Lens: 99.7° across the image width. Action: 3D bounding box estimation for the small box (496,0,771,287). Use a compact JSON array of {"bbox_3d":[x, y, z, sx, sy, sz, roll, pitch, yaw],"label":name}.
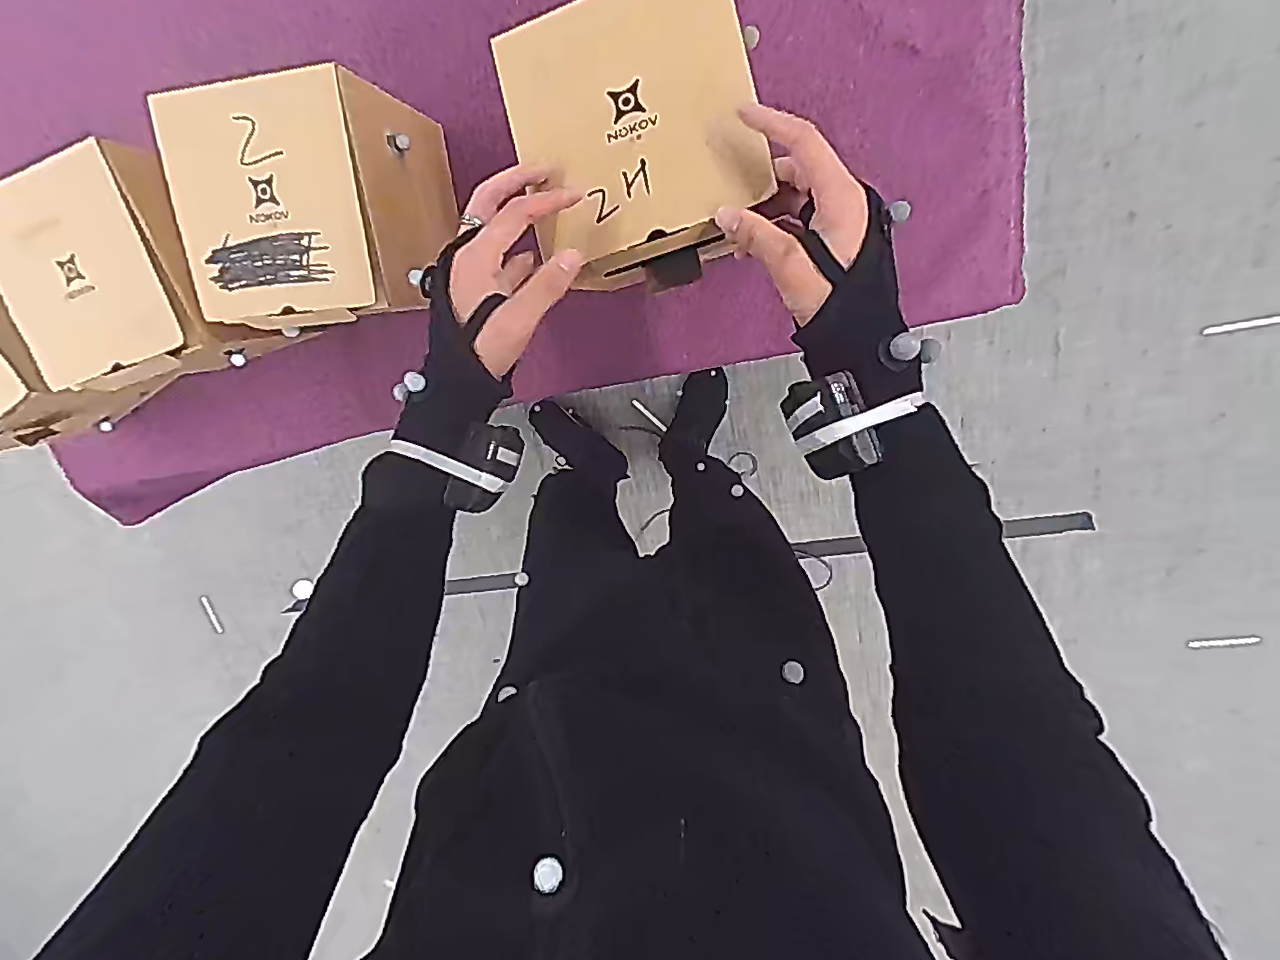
[{"bbox_3d":[0.008,-0.274,0.460,0.168,0.176,0.179,-12,107,13],"label":"small box"}]
